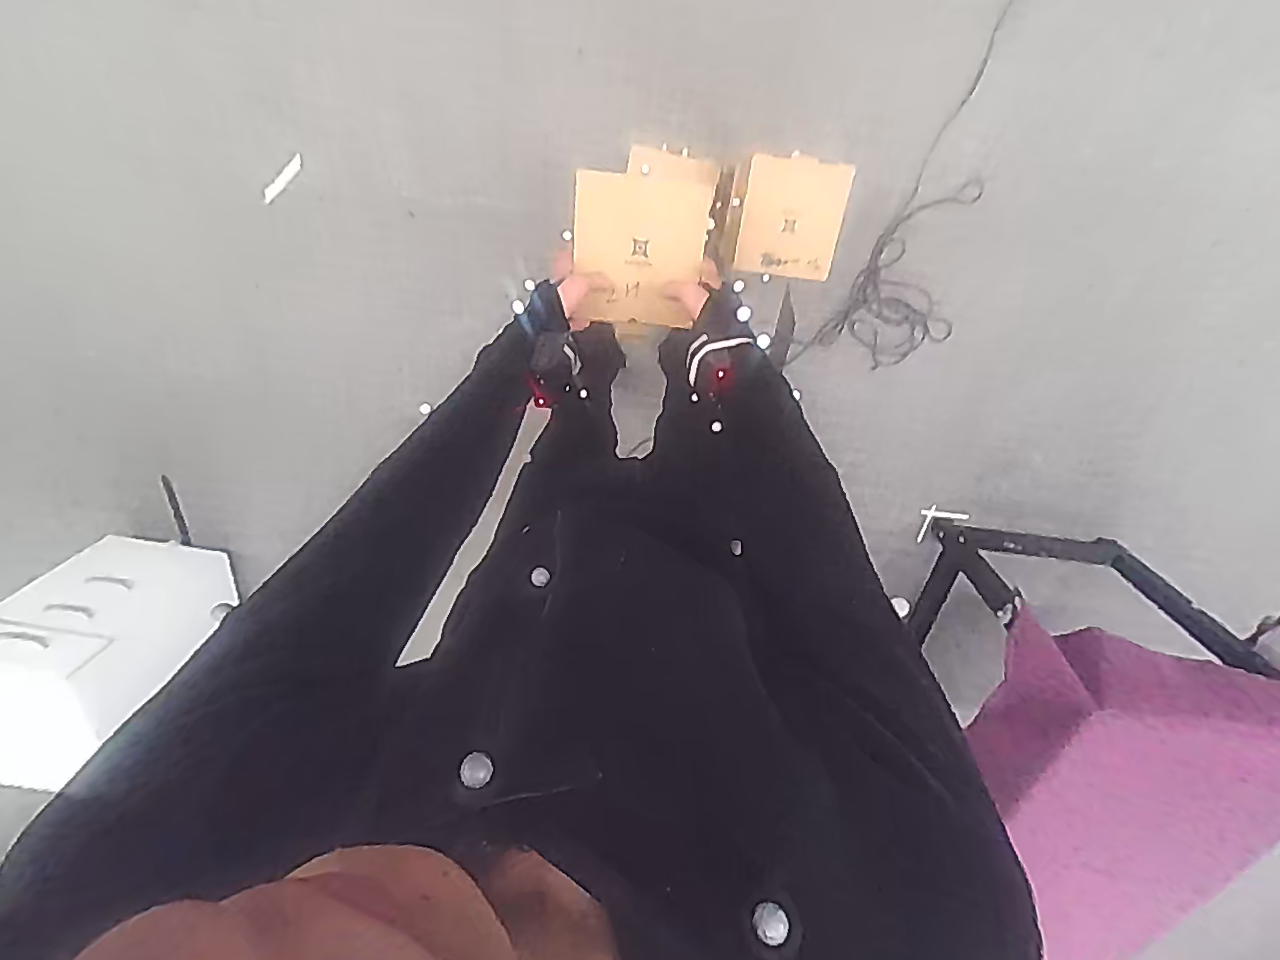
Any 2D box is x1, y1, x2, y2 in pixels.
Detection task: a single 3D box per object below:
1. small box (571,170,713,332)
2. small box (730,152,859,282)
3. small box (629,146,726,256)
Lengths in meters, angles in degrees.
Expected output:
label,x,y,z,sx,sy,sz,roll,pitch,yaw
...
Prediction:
label,x,y,z,sx,sy,sz,roll,pitch,yaw
small box,-0.007,-0.316,0.743,0.168,0.176,0.179,3,119,-6
small box,0.257,-0.458,0.948,0.168,0.176,0.179,8,118,1
small box,0.064,-0.561,1.094,0.179,0.176,0.168,13,118,-1
